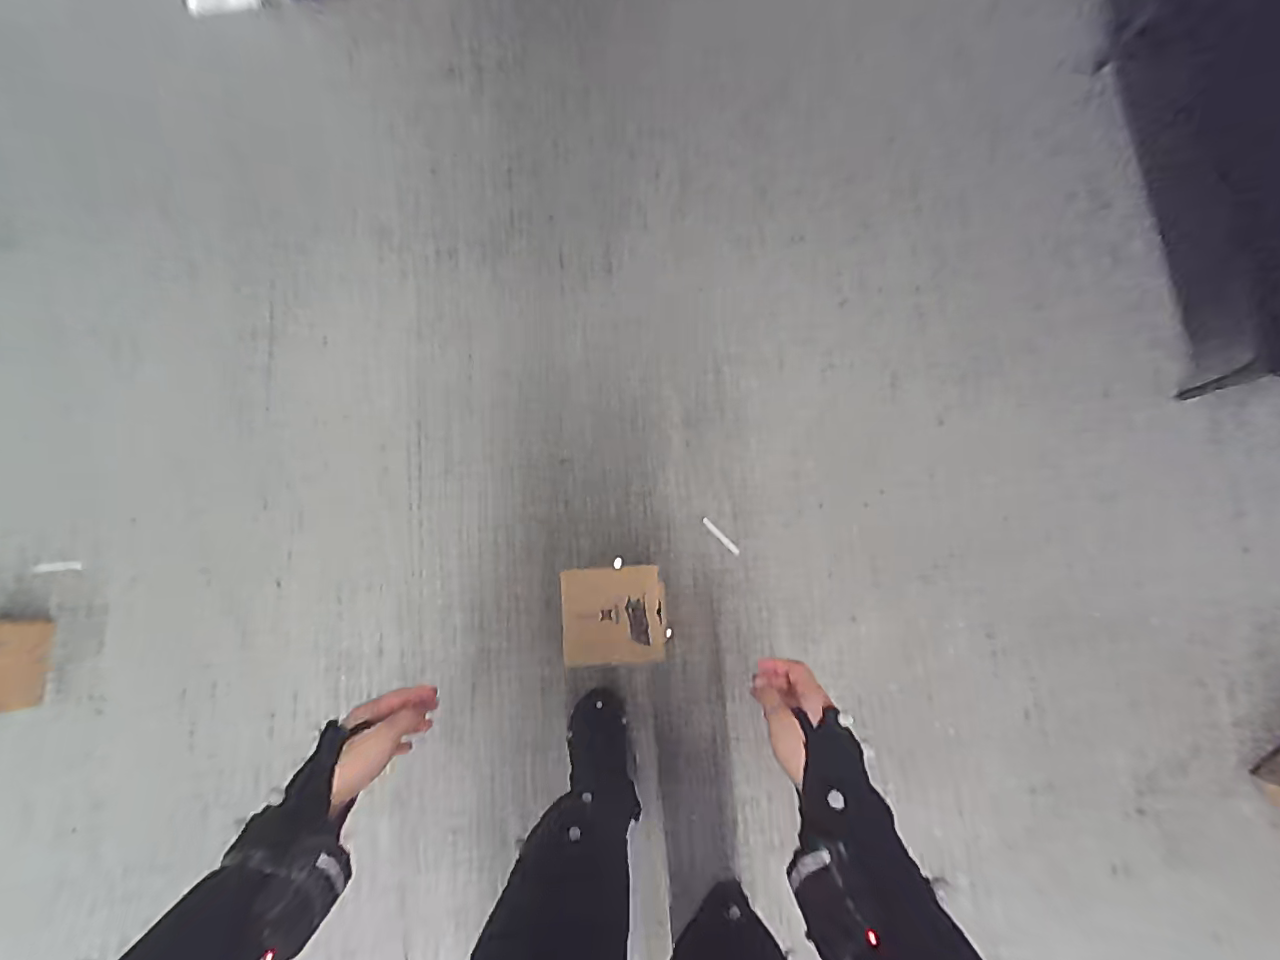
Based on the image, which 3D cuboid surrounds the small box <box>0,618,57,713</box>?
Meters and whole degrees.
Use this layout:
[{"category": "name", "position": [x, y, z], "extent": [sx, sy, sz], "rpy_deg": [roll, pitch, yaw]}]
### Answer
[{"category": "small box", "position": [-1.311, 0.363, 1.052], "extent": [0.168, 0.176, 0.179], "rpy_deg": [1, 80, 3]}]

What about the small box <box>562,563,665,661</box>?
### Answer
[{"category": "small box", "position": [-0.046, 0.244, 1.031], "extent": [0.179, 0.176, 0.168], "rpy_deg": [-4, 80, 2]}]
